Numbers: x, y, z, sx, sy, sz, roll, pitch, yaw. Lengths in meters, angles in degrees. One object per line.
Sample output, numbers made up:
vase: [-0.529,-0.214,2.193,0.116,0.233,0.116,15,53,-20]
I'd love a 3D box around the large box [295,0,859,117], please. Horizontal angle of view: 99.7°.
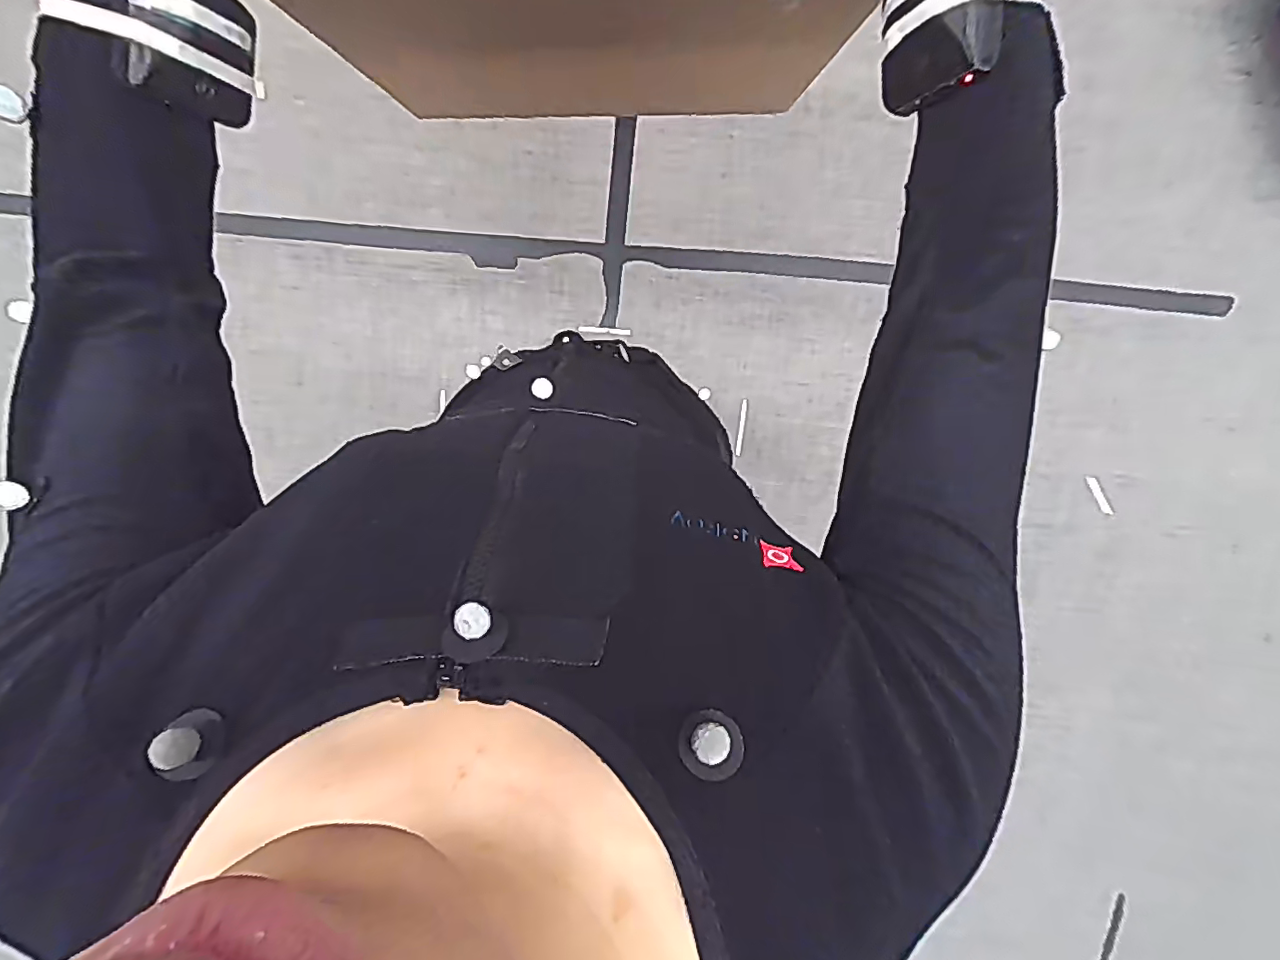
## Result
large box: [-0.044,-0.495,0.395,0.408,0.320,0.320,-2,110,-1]
